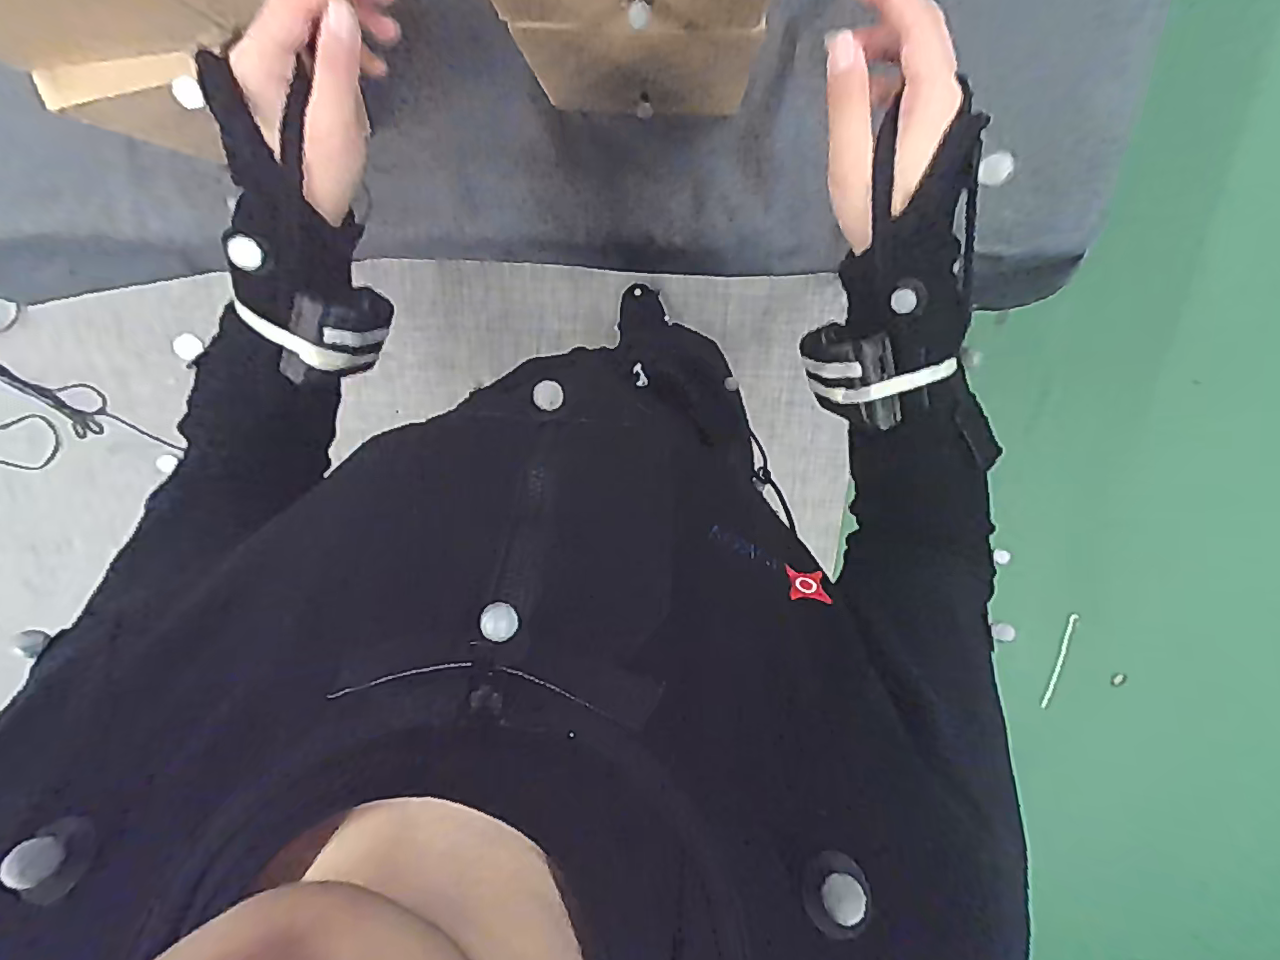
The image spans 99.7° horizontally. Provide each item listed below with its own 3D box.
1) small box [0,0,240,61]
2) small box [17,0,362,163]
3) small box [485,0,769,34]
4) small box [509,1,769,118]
[{"bbox_3d":[-0.365,-0.346,0.275,0.179,0.176,0.168,-4,110,3],"label":"small box"},{"bbox_3d":[-0.362,-0.383,0.435,0.168,0.176,0.179,-7,109,4],"label":"small box"},{"bbox_3d":[-0.008,-0.349,0.254,0.179,0.176,0.168,3,109,1],"label":"small box"},{"bbox_3d":[0.002,-0.399,0.414,0.179,0.176,0.168,2,109,1],"label":"small box"}]
